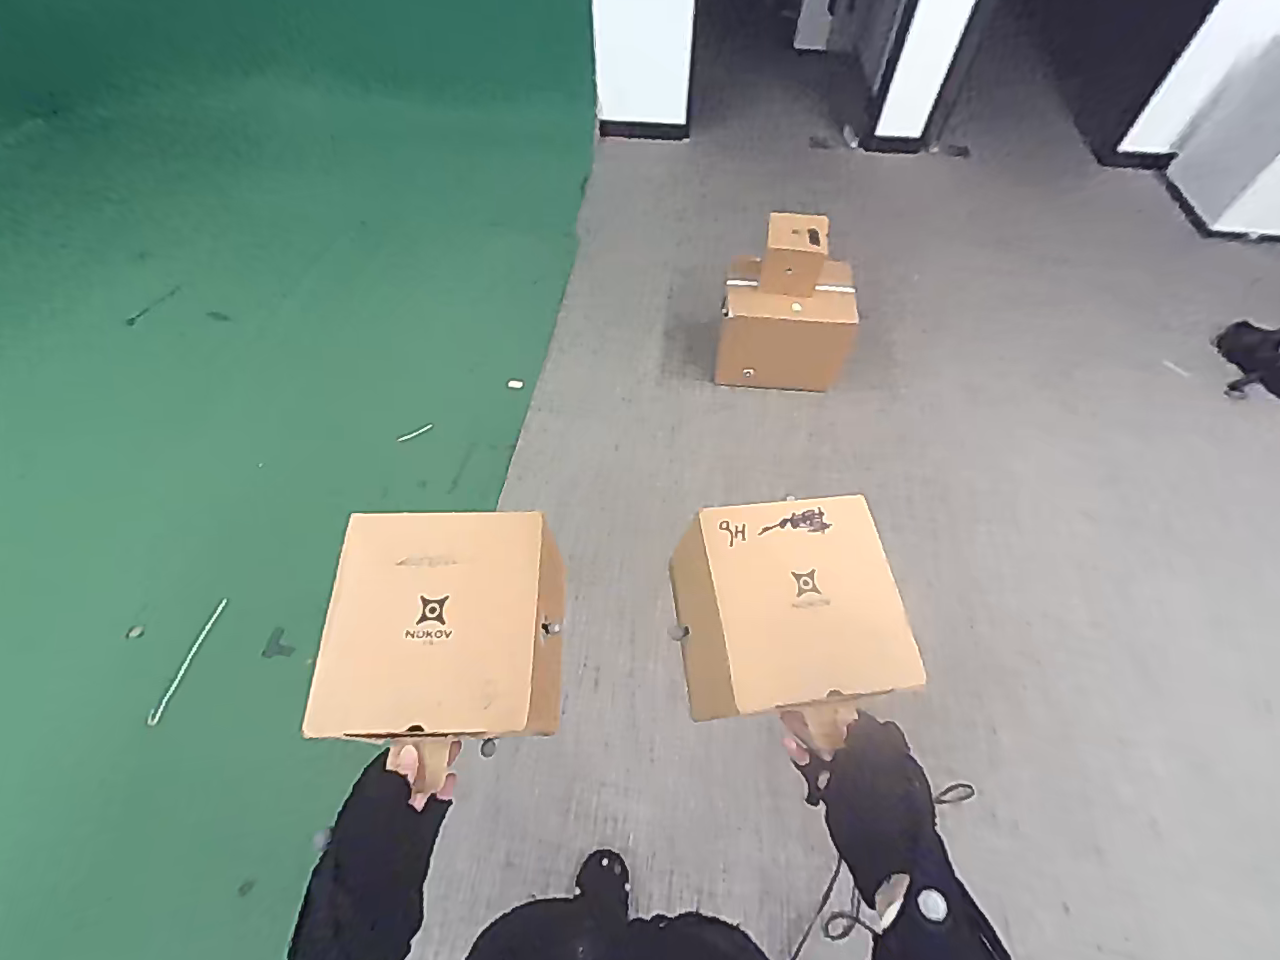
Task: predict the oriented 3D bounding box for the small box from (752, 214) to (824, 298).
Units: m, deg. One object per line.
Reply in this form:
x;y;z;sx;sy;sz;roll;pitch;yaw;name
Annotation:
0.457;-0.691;1.680;0.179;0.176;0.168;11;61;6;small box

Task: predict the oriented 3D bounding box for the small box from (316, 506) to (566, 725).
-0.162;0.135;0.509;0.168;0.176;0.179;0;64;-1;small box
